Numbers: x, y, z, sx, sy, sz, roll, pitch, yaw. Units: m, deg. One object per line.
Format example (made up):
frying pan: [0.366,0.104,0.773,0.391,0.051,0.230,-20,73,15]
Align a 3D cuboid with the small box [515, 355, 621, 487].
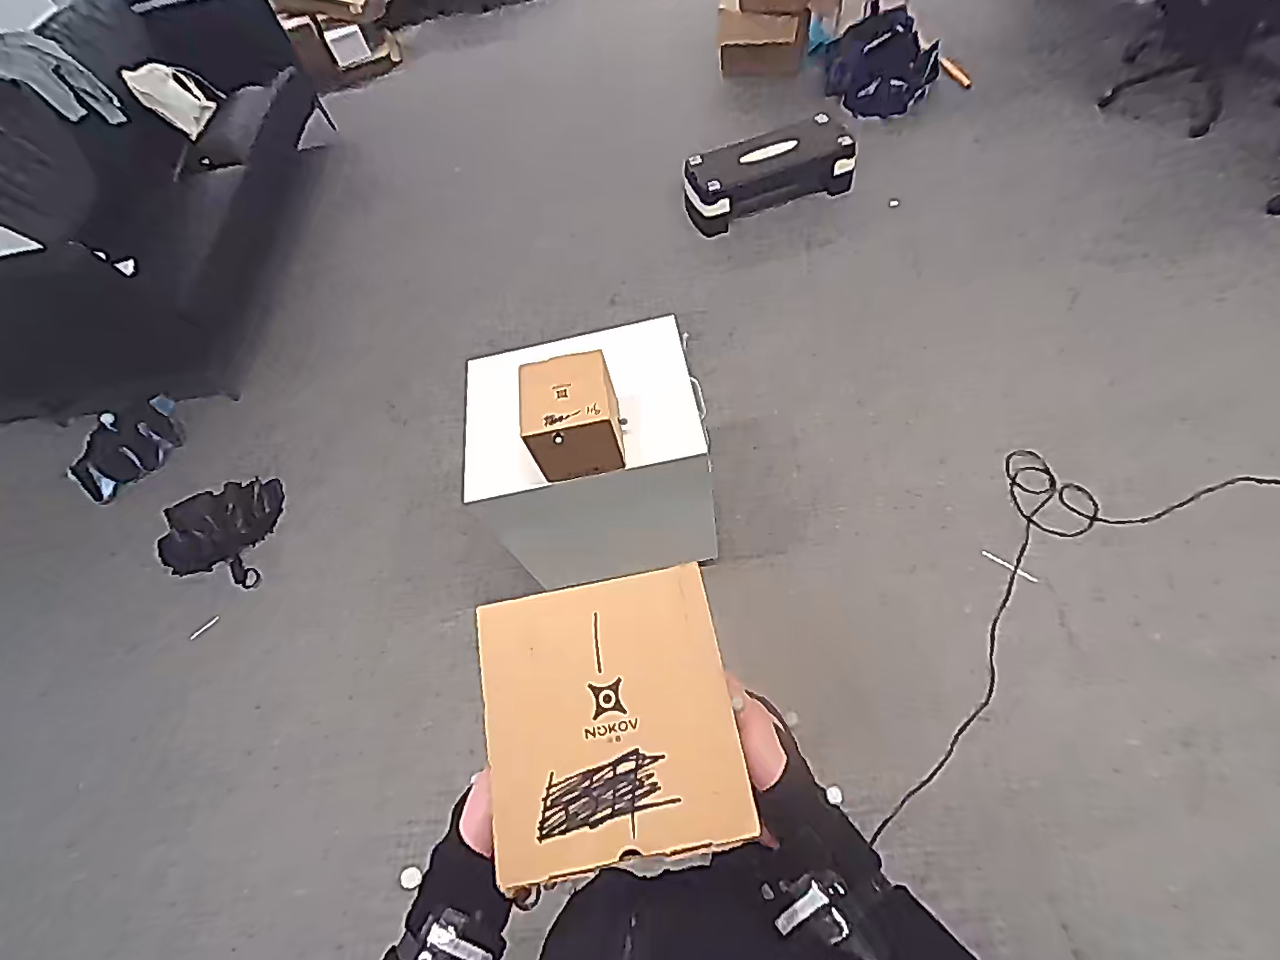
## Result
small box: [-0.139,-0.111,1.061,0.168,0.176,0.179,-12,57,3]
